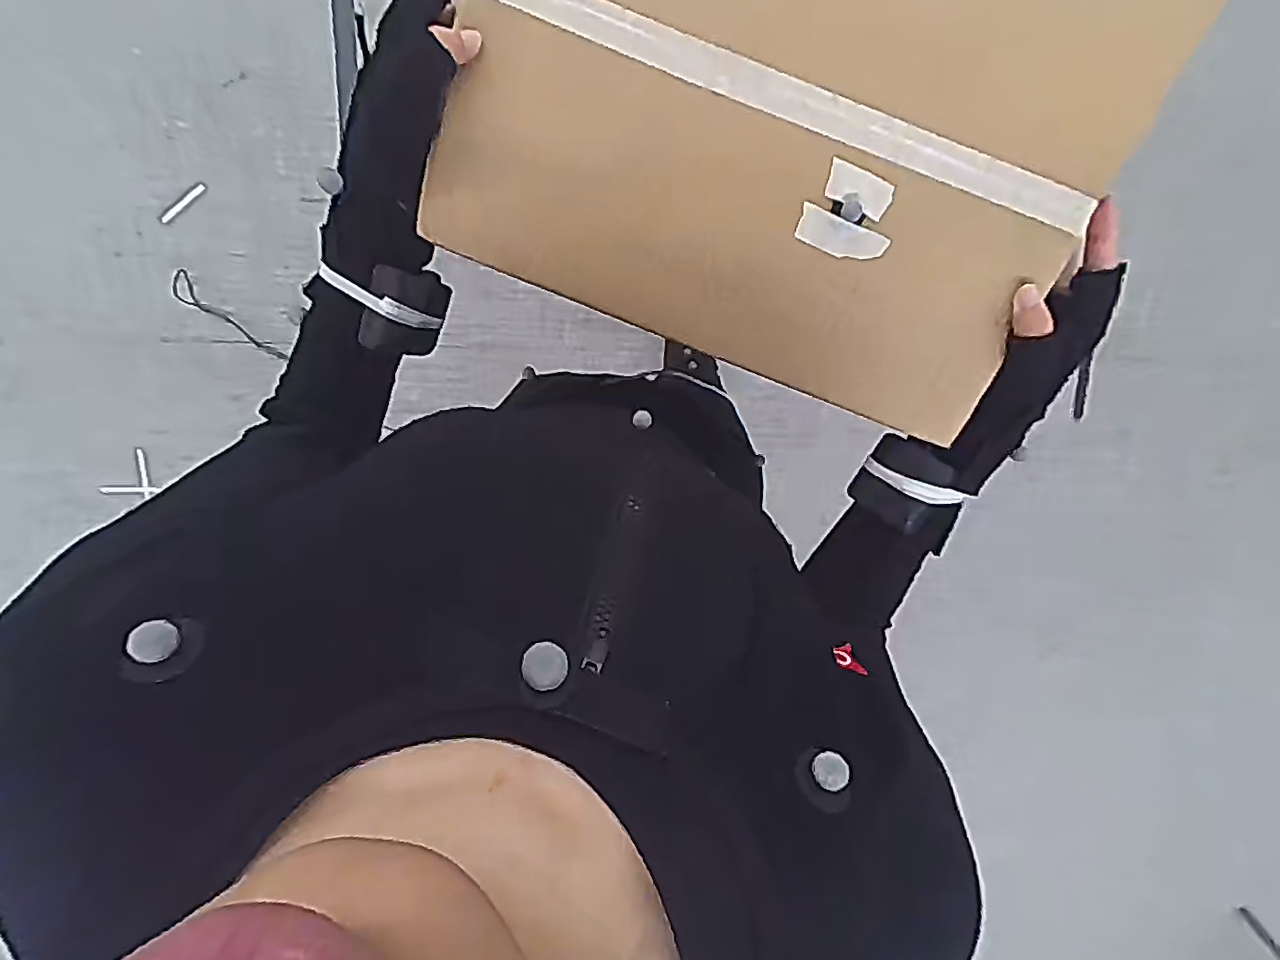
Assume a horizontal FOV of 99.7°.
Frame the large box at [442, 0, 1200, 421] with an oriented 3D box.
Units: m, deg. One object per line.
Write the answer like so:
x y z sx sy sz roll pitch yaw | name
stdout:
0.105 -0.293 0.479 0.408 0.320 0.320 21 111 -2 | large box
